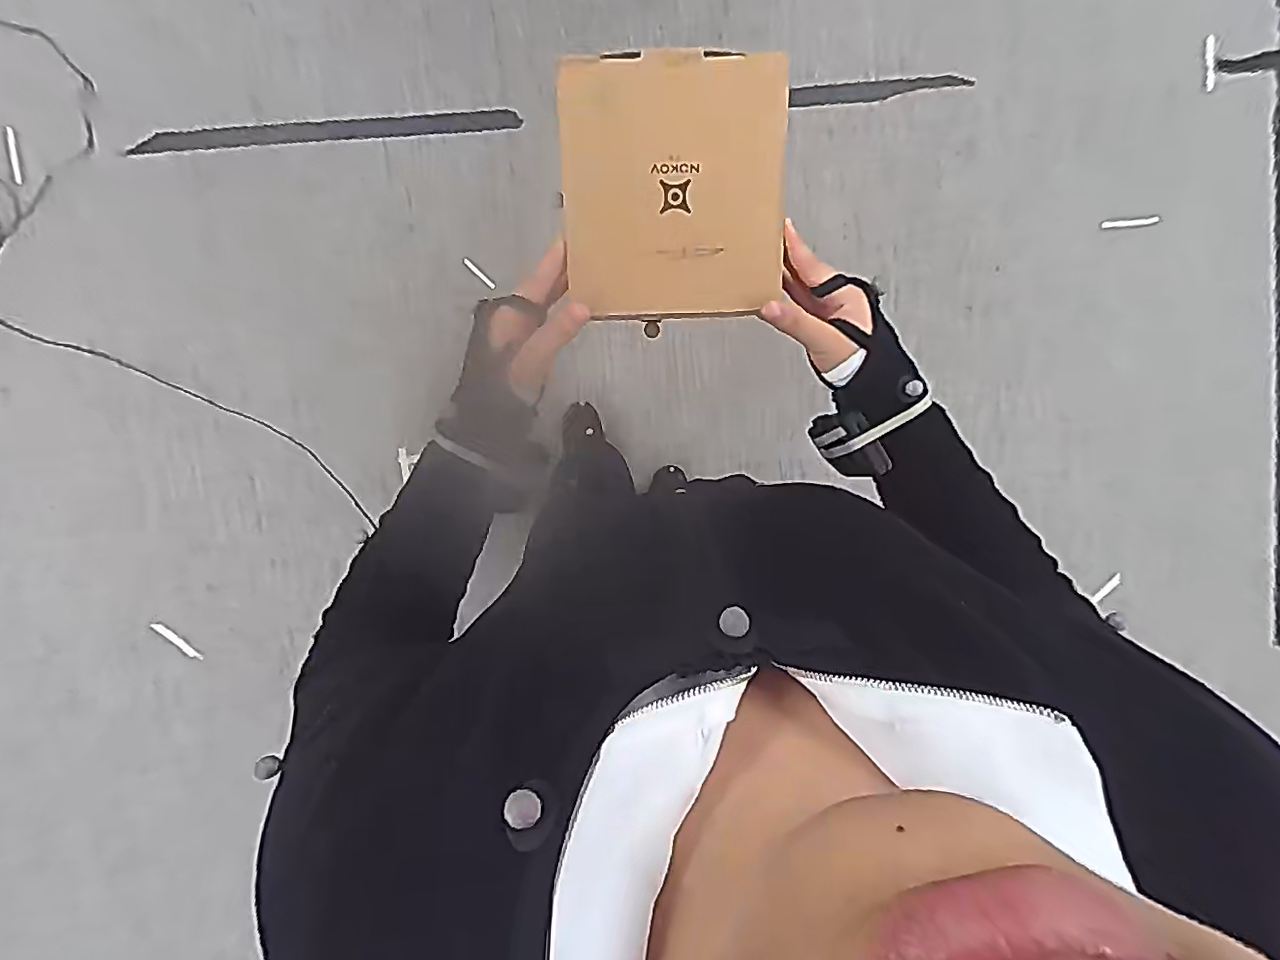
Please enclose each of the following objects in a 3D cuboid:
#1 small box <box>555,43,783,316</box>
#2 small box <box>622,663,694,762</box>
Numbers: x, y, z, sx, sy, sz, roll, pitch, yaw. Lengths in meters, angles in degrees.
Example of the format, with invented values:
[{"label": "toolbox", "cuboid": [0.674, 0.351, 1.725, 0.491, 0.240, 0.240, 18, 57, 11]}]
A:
[{"label": "small box", "cuboid": [0.019, -0.240, 0.476, 0.168, 0.176, 0.179, -2, 106, -1]}, {"label": "small box", "cuboid": [0.041, 0.572, 1.355, 0.168, 0.176, 0.179, -4, 94, 0]}]
